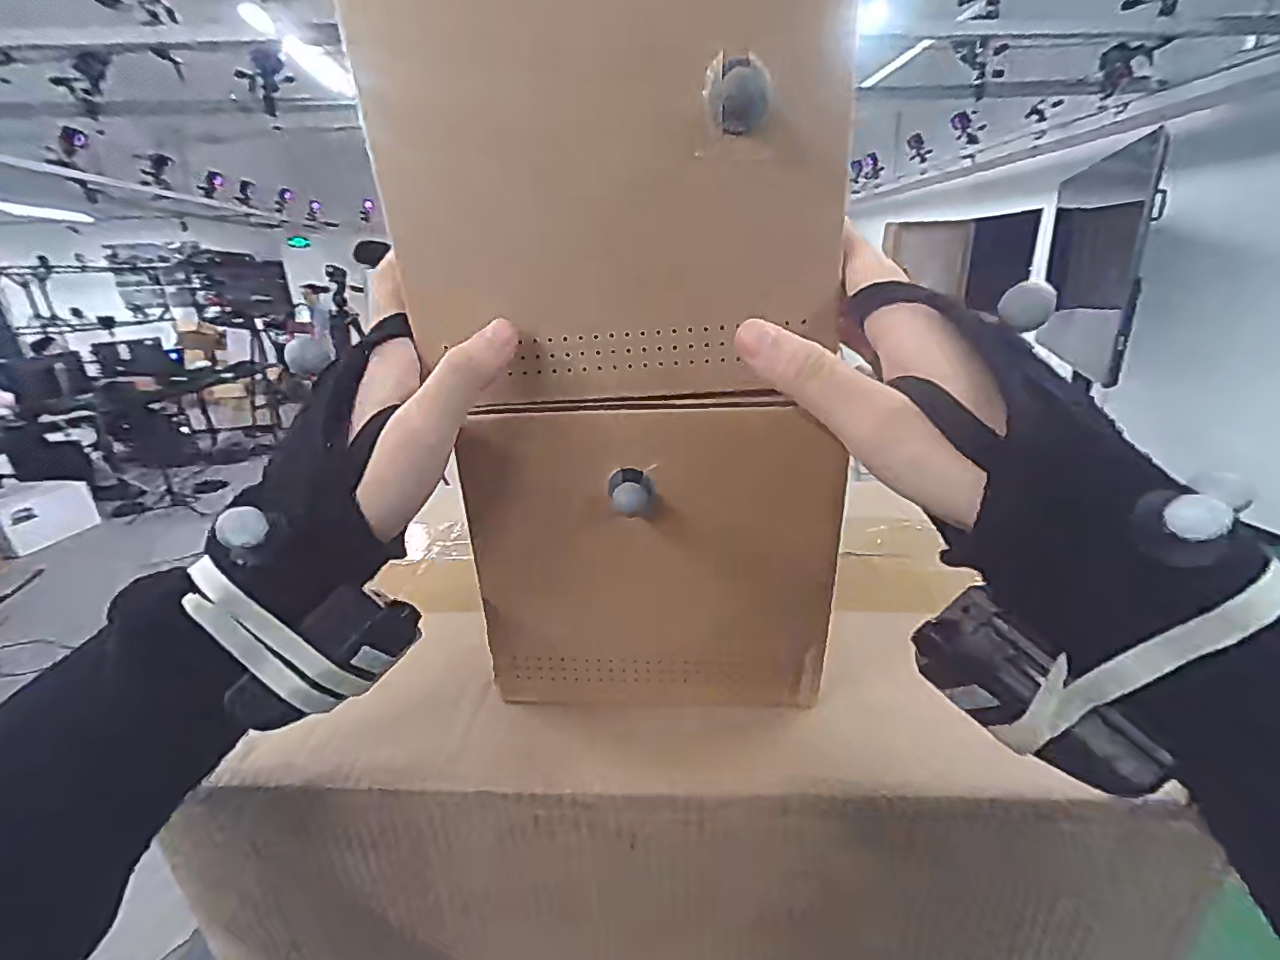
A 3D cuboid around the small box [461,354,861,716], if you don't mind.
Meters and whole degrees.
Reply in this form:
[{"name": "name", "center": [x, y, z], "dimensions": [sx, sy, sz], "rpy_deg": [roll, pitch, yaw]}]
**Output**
[{"name": "small box", "center": [0.015, 0.023, 0.334], "dimensions": [0.179, 0.176, 0.168], "rpy_deg": [-1, 22, 4]}]
